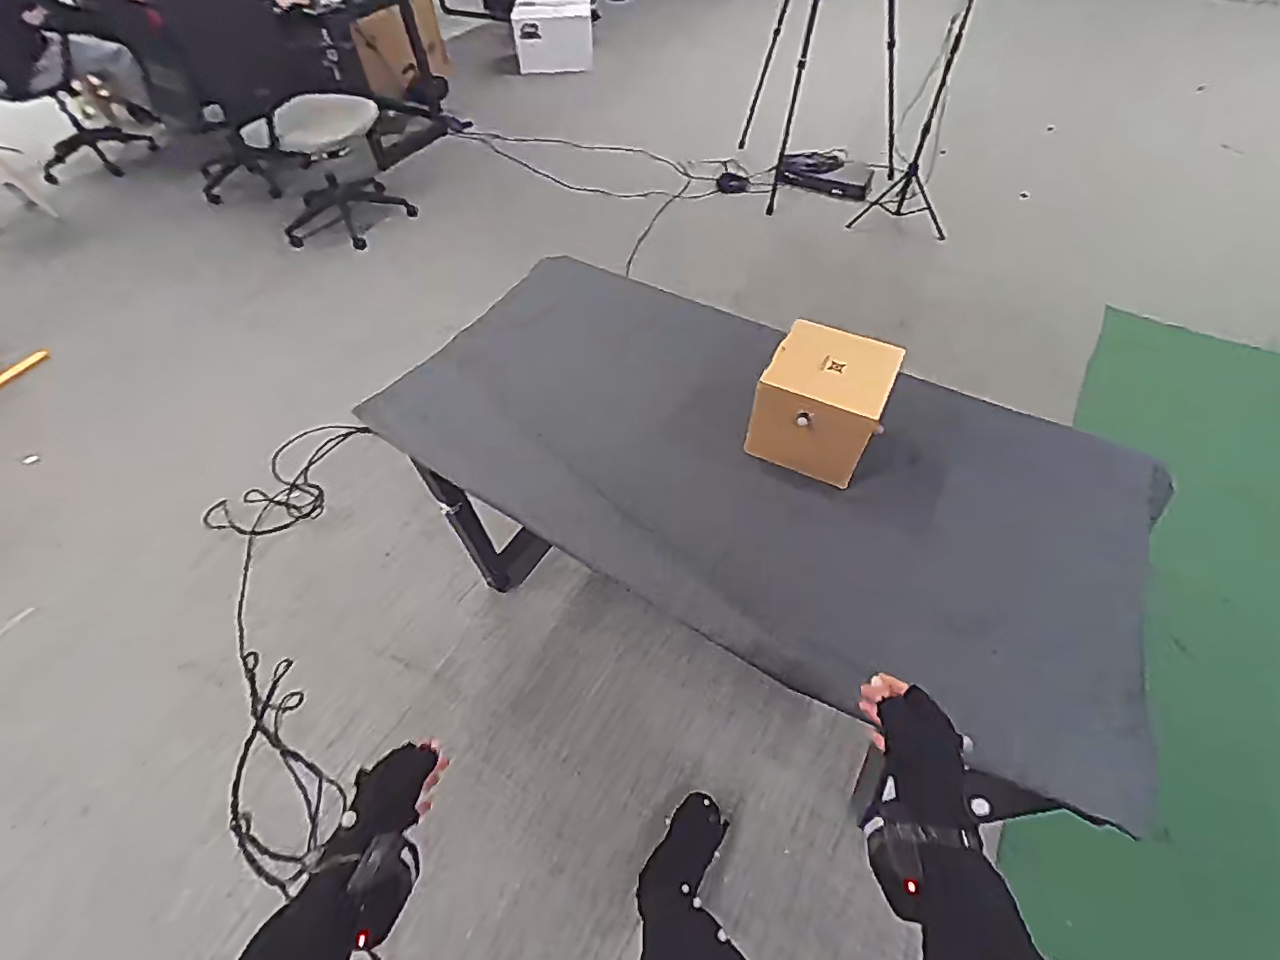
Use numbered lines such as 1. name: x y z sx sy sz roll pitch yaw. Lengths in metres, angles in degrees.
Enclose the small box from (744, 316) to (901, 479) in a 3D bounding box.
1. small box: 0.283 -0.126 0.865 0.179 0.176 0.168 22 58 19
